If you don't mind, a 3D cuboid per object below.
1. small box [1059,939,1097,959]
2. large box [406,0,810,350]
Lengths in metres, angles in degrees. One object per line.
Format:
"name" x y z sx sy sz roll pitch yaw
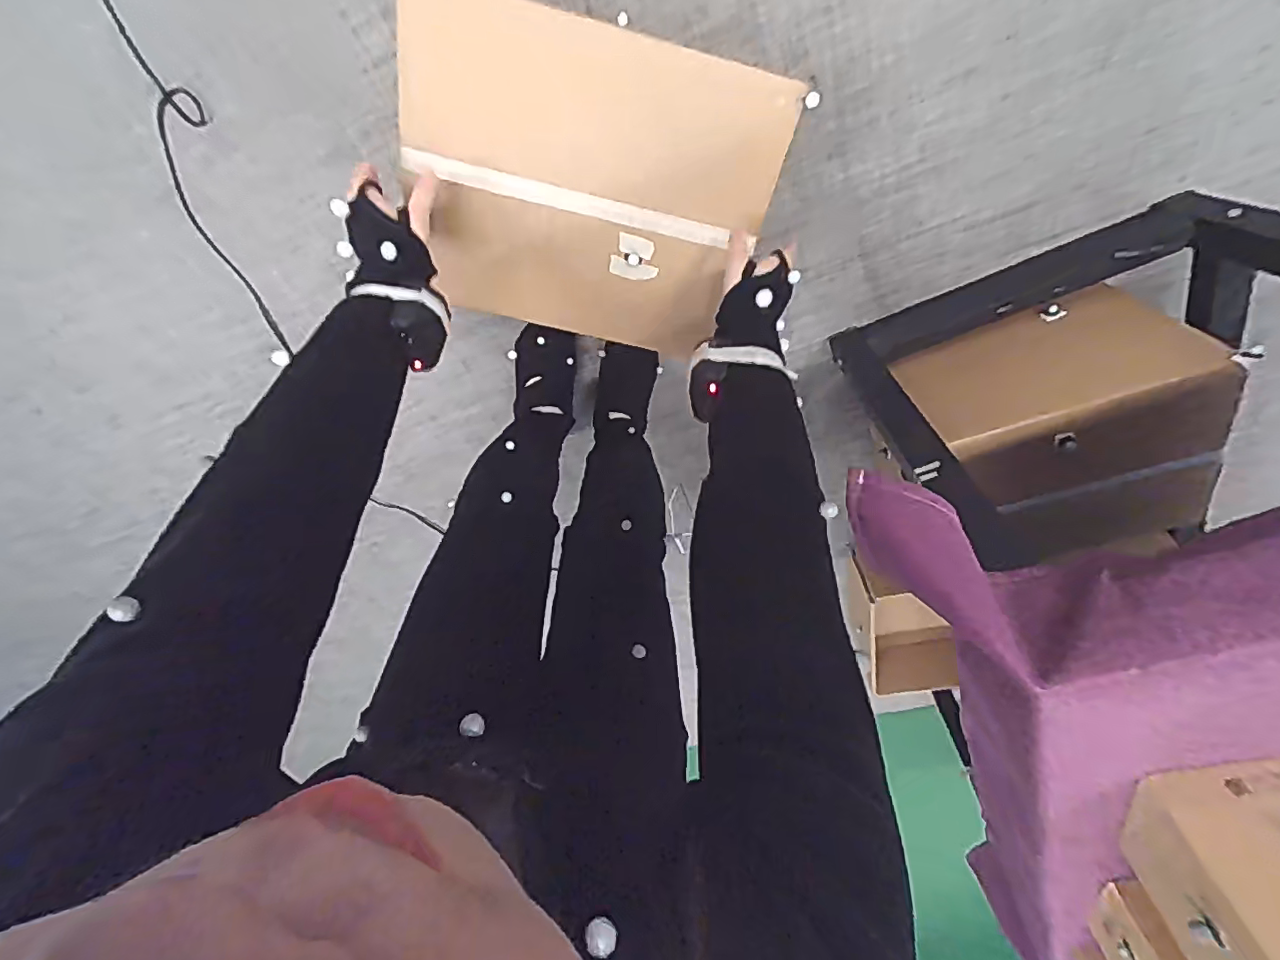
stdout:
"small box" 0.778 0.818 0.821 0.179 0.176 0.168 -17 125 13
"large box" -0.055 -0.415 0.724 0.408 0.320 0.320 11 128 -8
